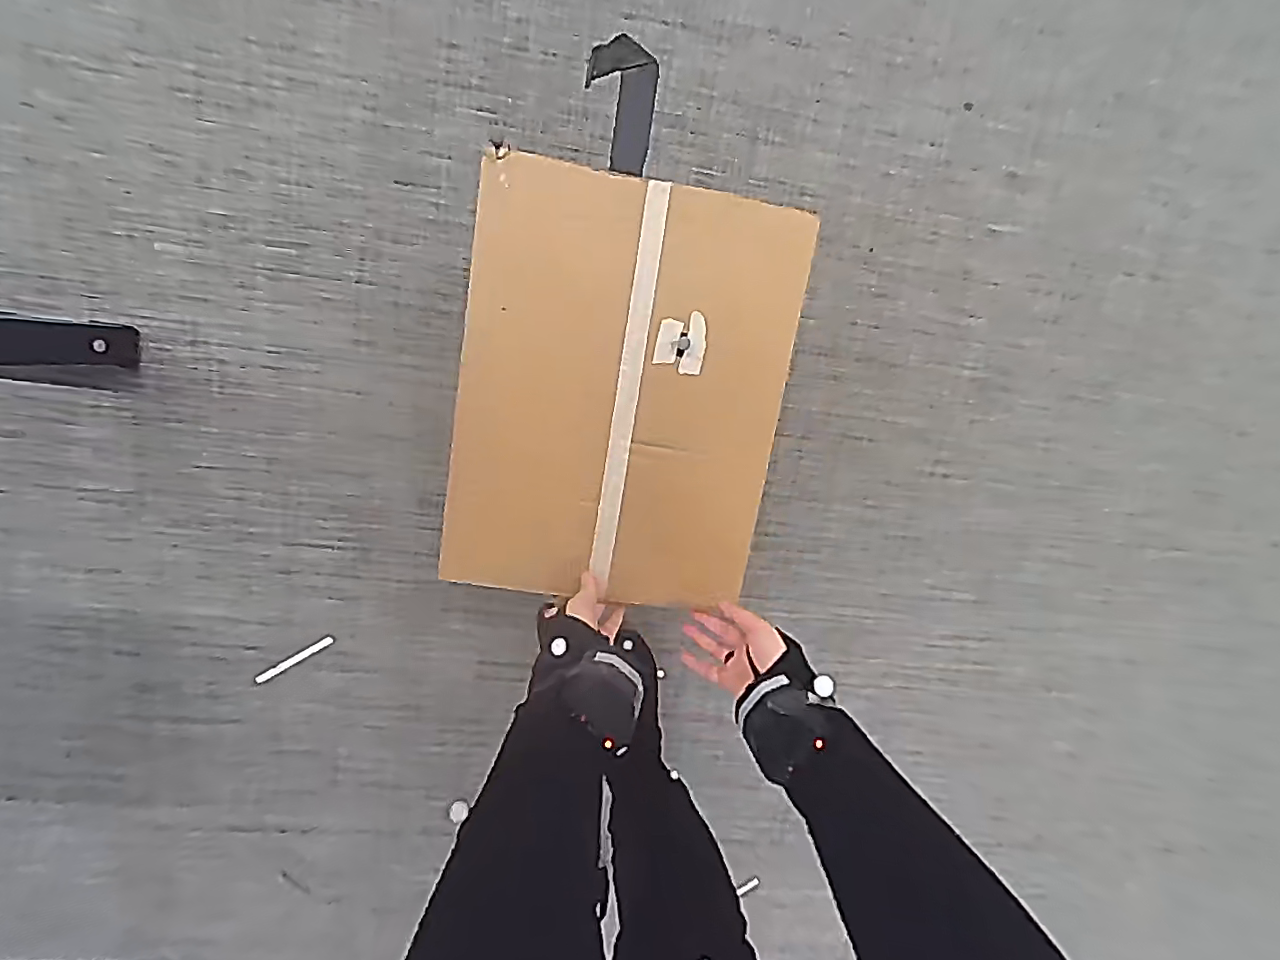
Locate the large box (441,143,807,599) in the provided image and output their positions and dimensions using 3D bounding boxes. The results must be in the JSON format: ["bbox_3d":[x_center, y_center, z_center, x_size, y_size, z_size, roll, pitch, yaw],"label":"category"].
[{"bbox_3d":[-0.034,-0.110,0.670,0.320,0.320,0.408,8,100,-8],"label":"large box"}]
